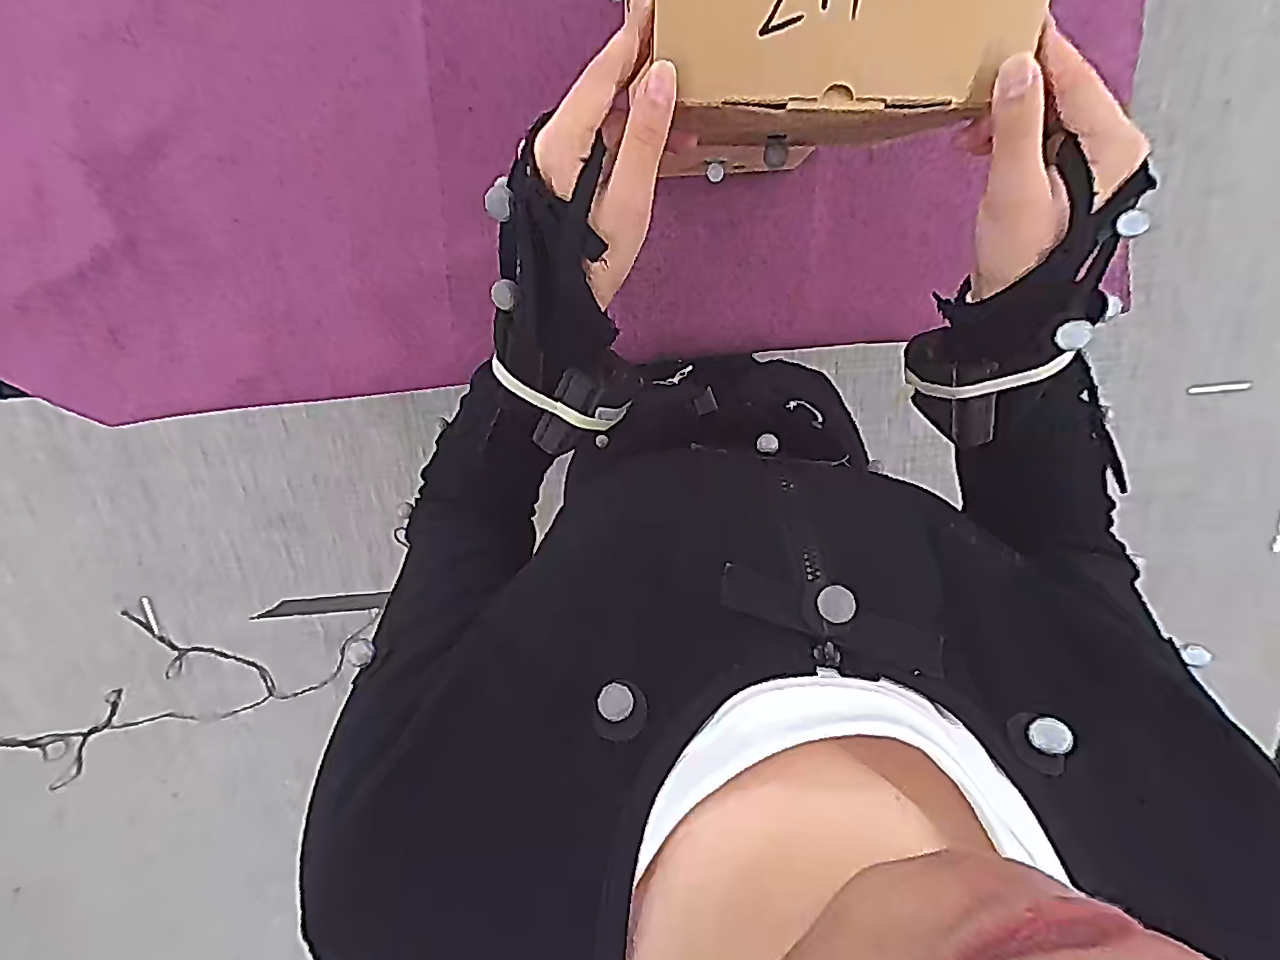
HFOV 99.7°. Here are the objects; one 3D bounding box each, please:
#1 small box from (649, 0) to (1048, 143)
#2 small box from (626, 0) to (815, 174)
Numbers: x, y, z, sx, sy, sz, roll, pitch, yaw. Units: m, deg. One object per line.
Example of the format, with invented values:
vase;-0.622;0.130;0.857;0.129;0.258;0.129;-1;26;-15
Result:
small box;0.090;-0.288;0.274;0.168;0.176;0.179;1;115;0
small box;0.074;-0.377;0.450;0.168;0.176;0.179;-3;107;0
